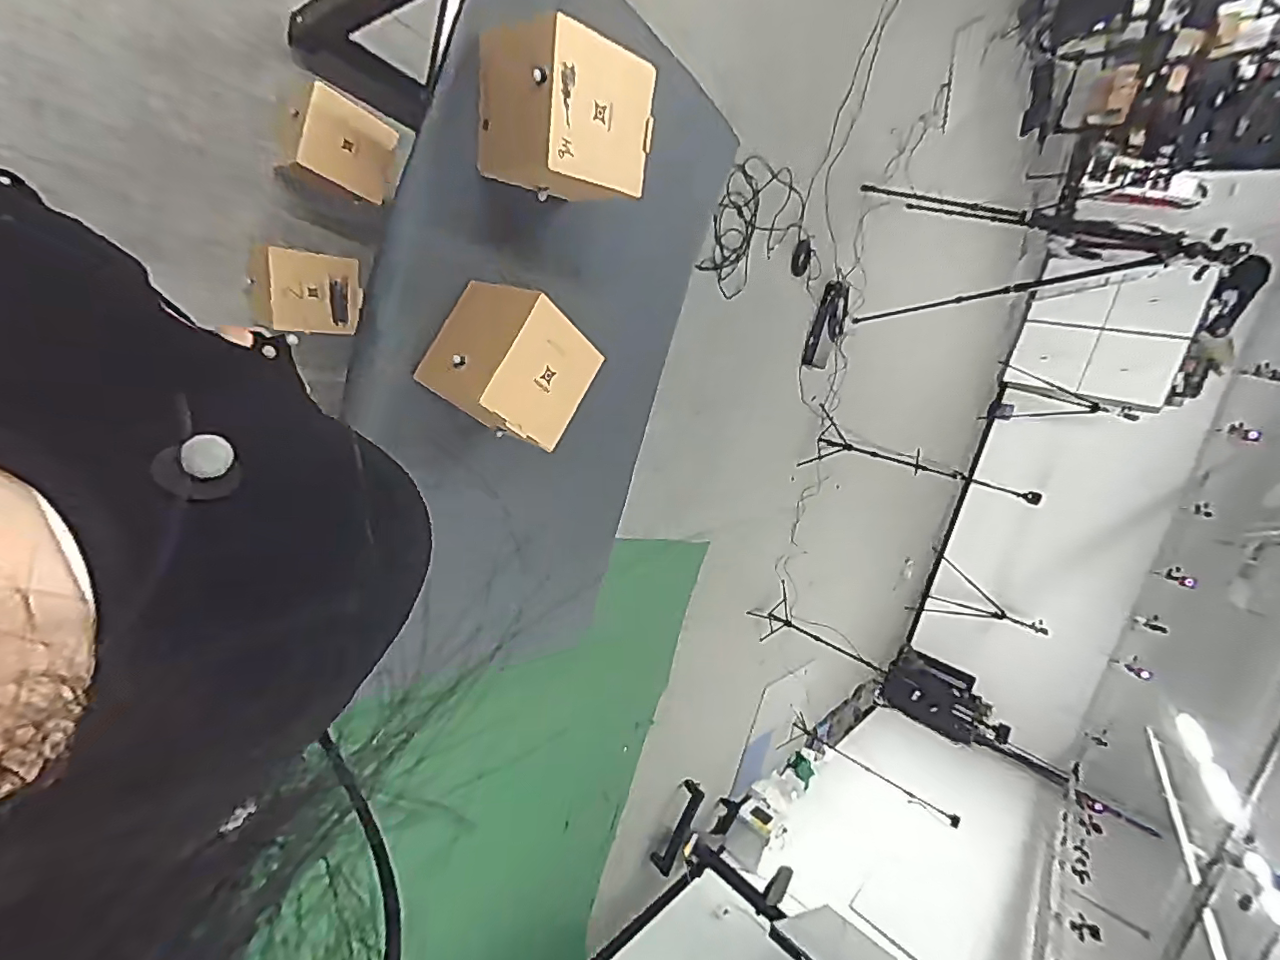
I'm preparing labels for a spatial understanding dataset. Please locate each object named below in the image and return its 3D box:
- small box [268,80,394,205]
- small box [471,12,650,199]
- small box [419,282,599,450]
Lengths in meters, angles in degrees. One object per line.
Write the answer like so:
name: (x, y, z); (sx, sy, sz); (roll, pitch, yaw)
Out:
small box: (-0.675, -0.718, 1.176); (0.179, 0.176, 0.168); (11, 98, -52)
small box: (-0.113, -0.505, 0.759); (0.179, 0.176, 0.168); (-13, 117, -46)
small box: (-0.200, -0.173, 0.816); (0.168, 0.176, 0.179); (38, 76, -55)
